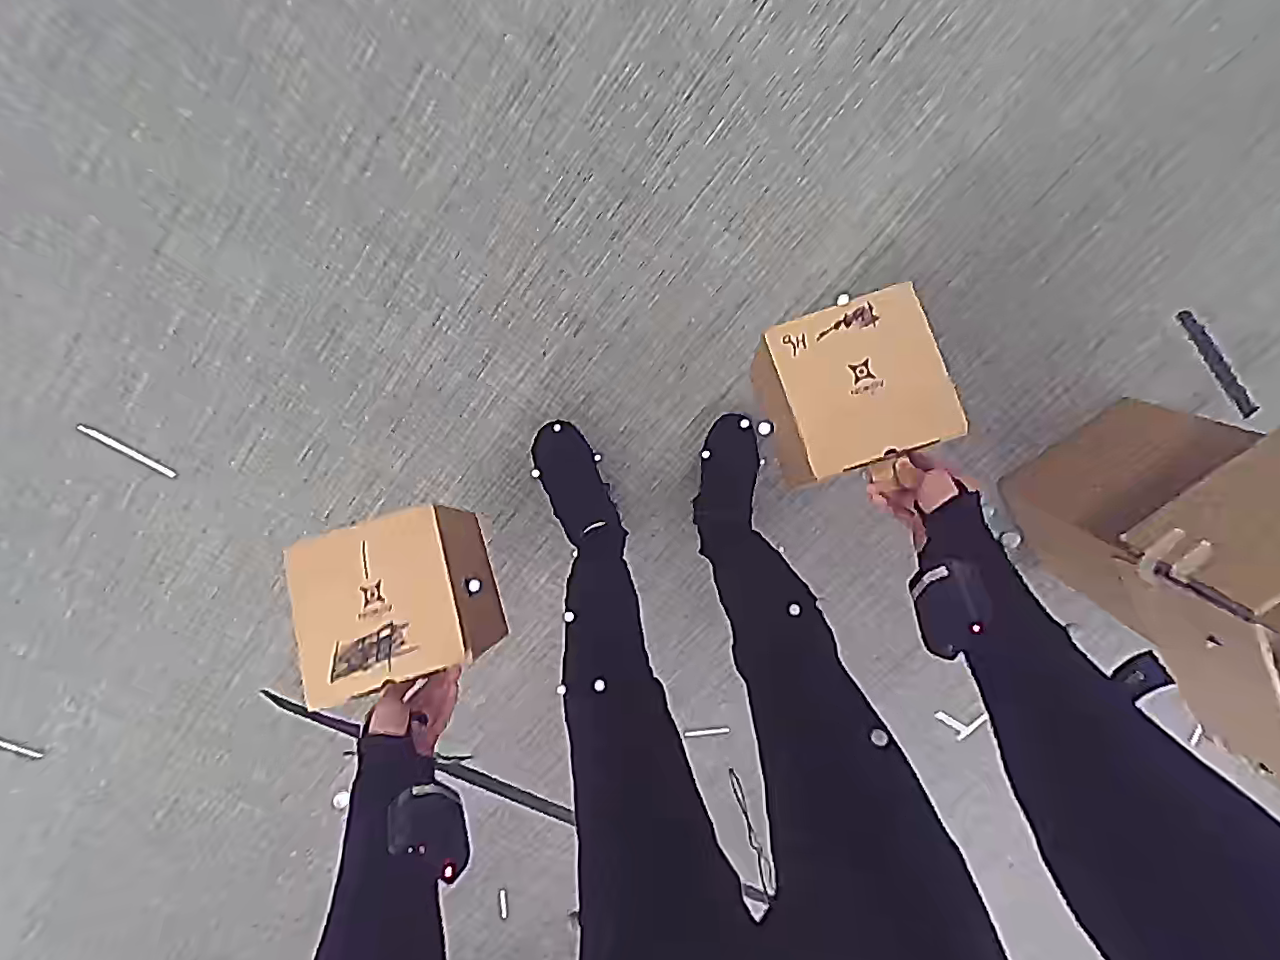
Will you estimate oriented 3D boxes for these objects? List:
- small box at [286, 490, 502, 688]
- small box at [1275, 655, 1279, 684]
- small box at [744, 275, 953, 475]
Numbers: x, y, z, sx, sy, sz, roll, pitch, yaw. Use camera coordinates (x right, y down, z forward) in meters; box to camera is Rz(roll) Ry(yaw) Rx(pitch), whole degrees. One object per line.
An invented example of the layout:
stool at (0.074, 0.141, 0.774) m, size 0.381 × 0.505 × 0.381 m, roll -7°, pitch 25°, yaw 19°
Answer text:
small box at (-0.280, 0.123, 0.655) m, size 0.168 × 0.176 × 0.179 m, roll -17°, pitch 83°, yaw -4°
small box at (1.168, 0.340, 0.841) m, size 0.168 × 0.176 × 0.179 m, roll -37°, pitch 113°, yaw 8°
small box at (0.234, -0.110, 0.656) m, size 0.168 × 0.176 × 0.179 m, roll -18°, pitch 84°, yaw 4°
